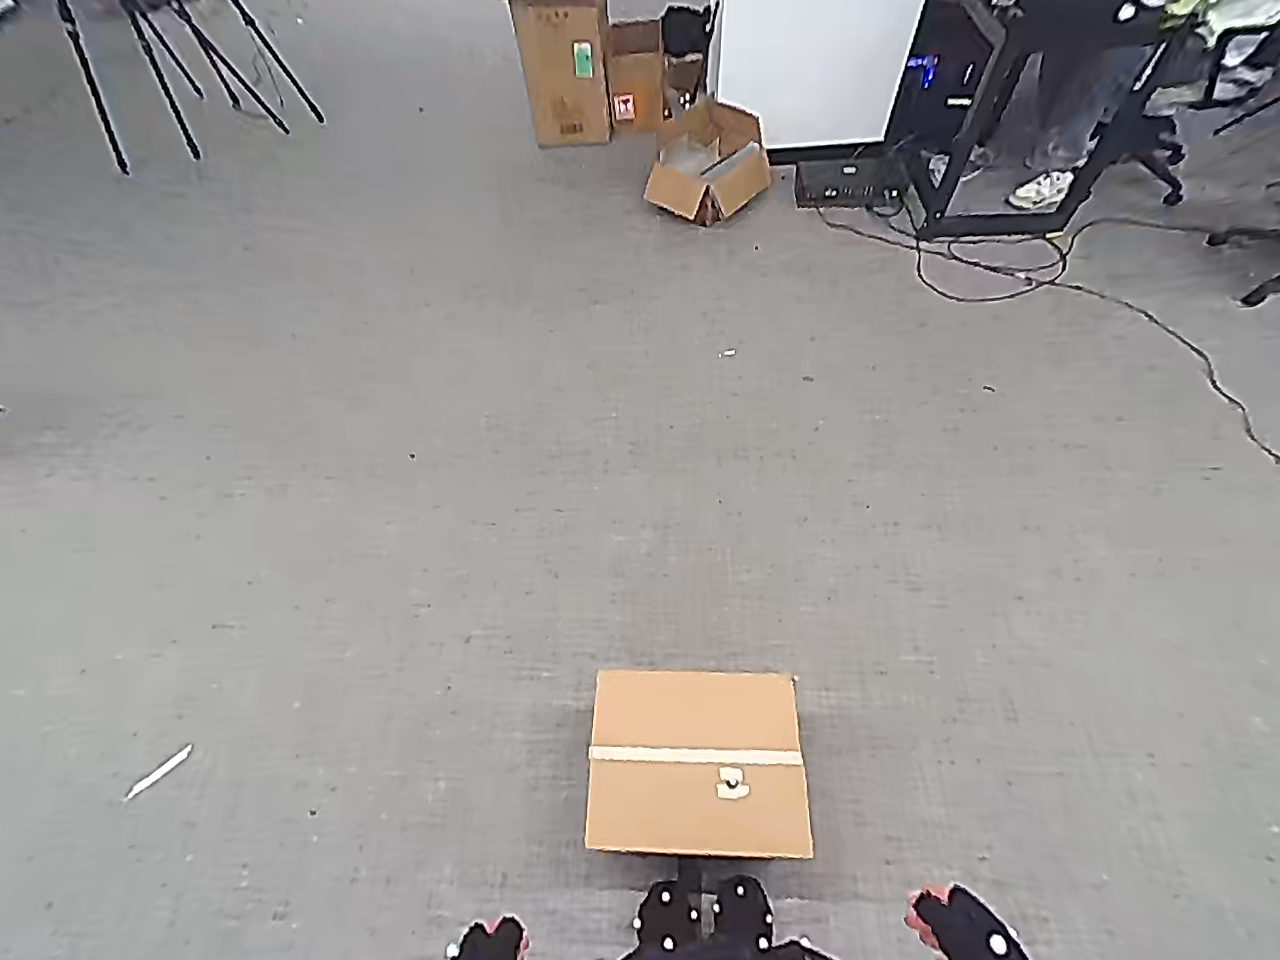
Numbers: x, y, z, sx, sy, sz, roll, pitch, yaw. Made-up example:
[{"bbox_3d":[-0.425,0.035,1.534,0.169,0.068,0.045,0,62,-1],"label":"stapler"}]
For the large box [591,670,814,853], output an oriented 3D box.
[{"bbox_3d":[0.116,0.607,1.160,0.408,0.320,0.320,0,57,3],"label":"large box"}]
